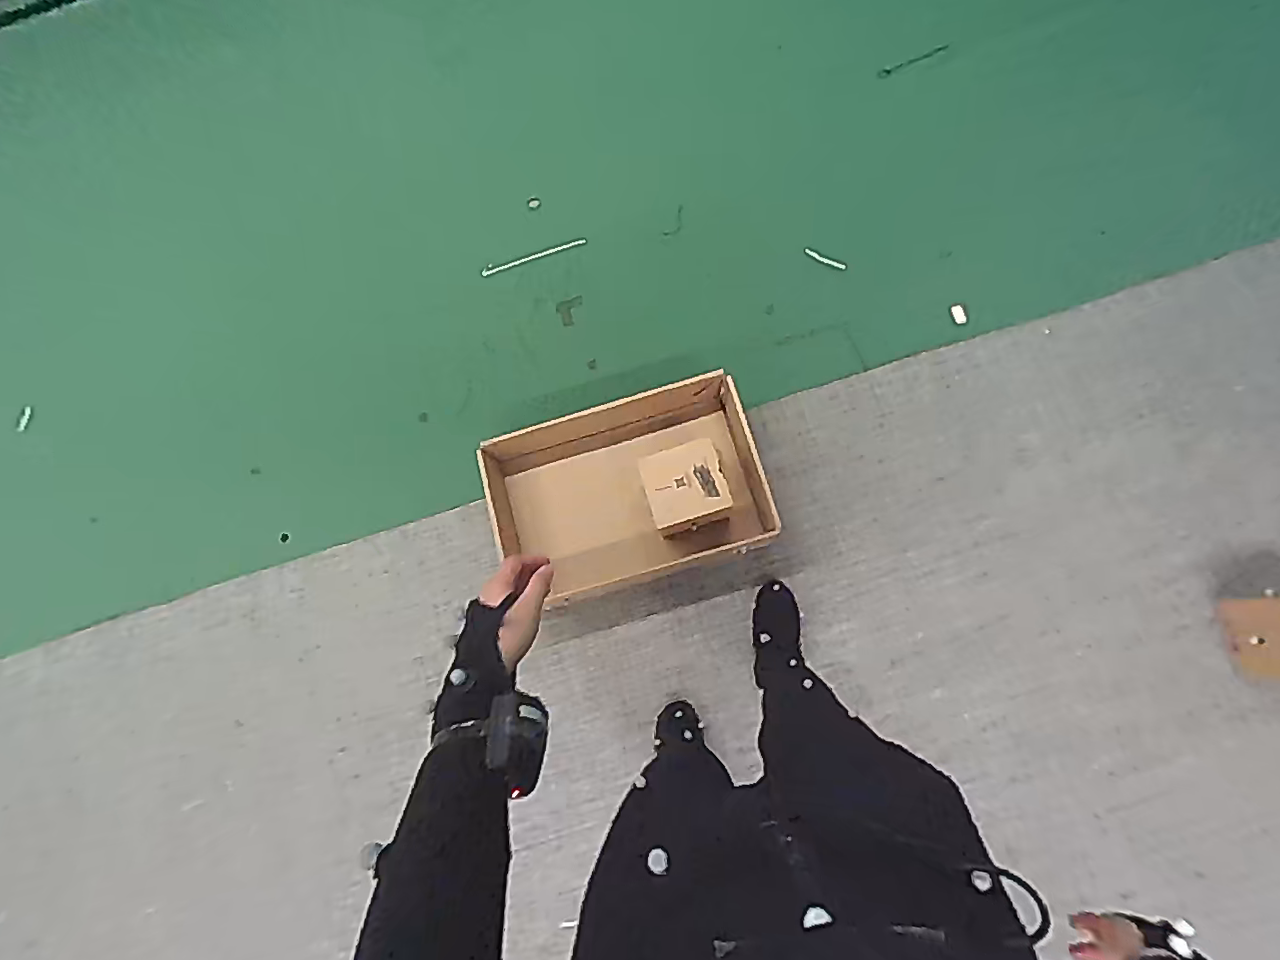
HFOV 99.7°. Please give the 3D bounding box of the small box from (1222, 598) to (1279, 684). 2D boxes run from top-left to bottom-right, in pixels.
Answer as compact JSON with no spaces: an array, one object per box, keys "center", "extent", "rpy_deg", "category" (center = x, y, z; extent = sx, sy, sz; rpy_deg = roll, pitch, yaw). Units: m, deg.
[{"center":[1.356,0.326,1.097],"extent":[0.179,0.176,0.168],"rpy_deg":[-6,77,5],"category":"small box"}]
